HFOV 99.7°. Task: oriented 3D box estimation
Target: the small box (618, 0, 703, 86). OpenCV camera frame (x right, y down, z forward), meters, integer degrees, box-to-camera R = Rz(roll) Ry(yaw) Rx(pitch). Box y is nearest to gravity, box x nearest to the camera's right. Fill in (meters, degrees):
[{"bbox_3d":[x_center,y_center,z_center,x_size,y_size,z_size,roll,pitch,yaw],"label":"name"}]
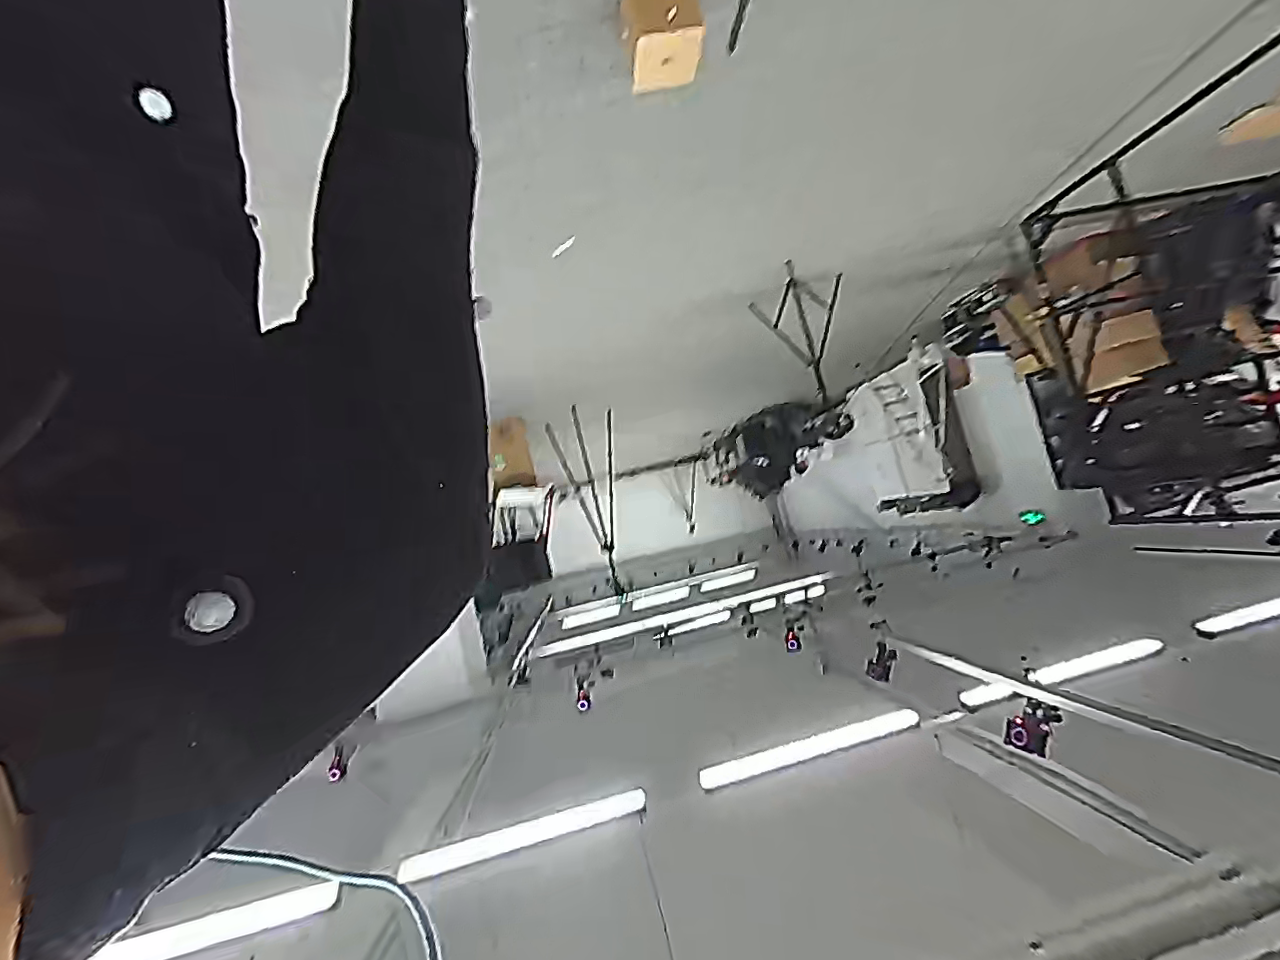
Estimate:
[{"bbox_3d":[0.045,-1.173,1.397,0.179,0.176,0.168,-15,176,-5],"label":"small box"}]
